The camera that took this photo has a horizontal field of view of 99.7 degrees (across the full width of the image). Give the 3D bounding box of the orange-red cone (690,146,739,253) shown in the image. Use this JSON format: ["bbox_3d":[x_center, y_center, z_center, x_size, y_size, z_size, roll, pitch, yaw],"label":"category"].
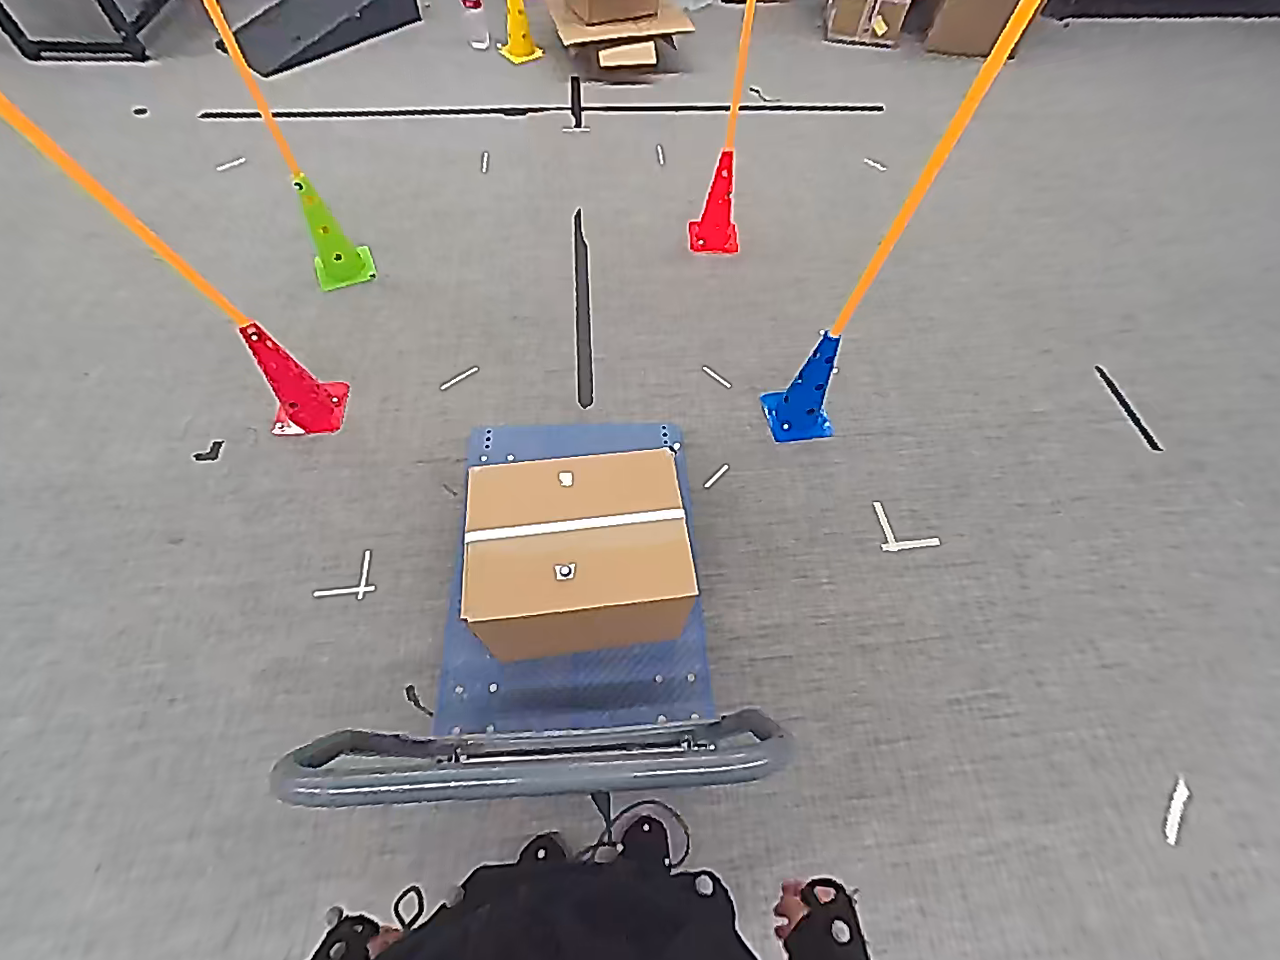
[{"bbox_3d":[0.313,-1.080,2.058,0.199,0.360,0.198,3,60,-2],"label":"orange-red cone"}]

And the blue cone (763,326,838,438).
[{"bbox_3d":[0.519,-0.304,1.628,0.193,0.380,0.192,-7,59,-7],"label":"blue cone"}]
